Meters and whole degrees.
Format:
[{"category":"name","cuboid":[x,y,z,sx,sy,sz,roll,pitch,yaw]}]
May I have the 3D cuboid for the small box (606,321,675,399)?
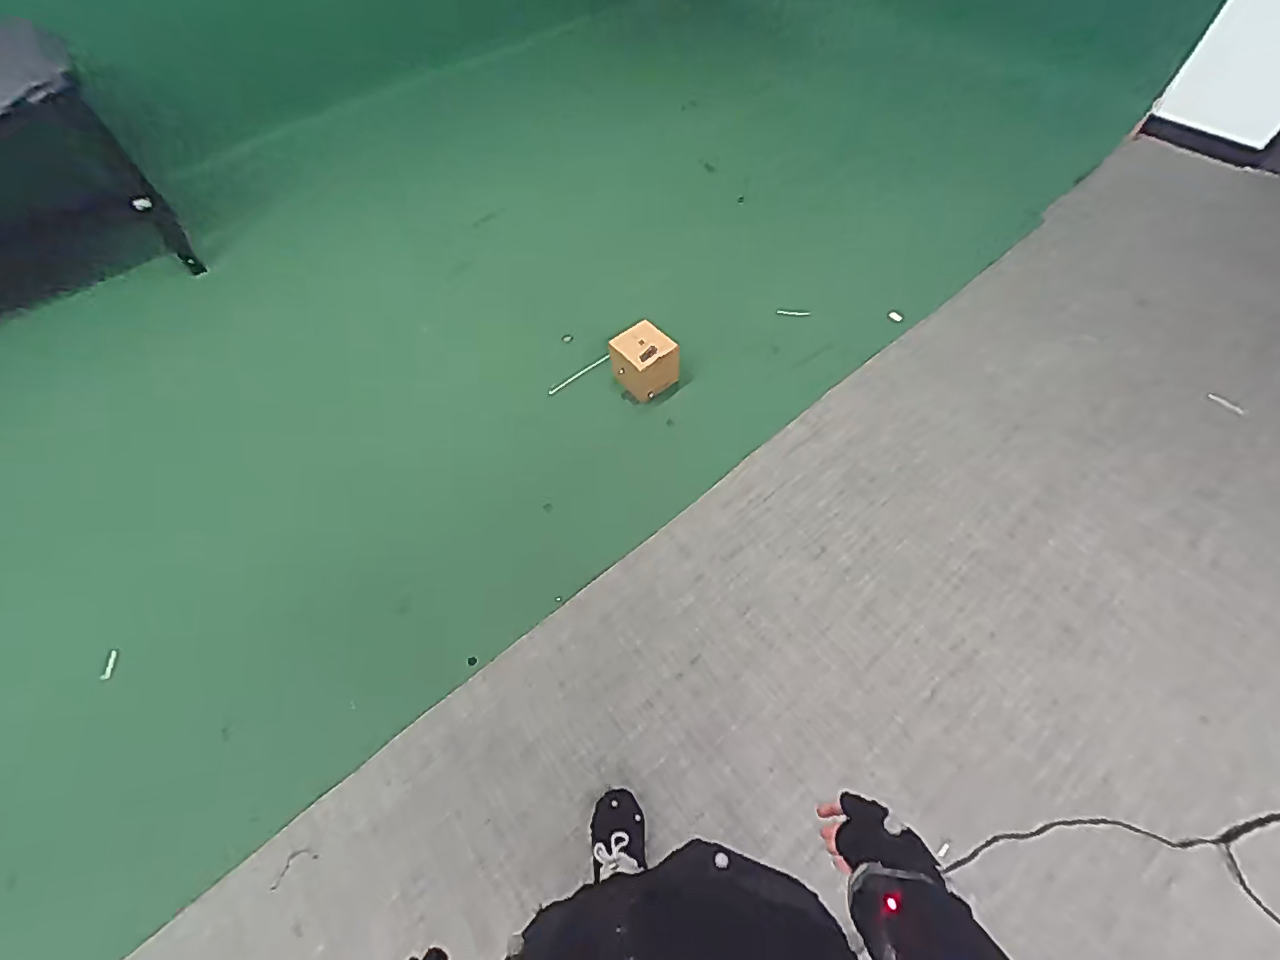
[{"category":"small box","cuboid":[0.007,-0.401,1.849,0.168,0.176,0.179,-36,63,-18]}]
